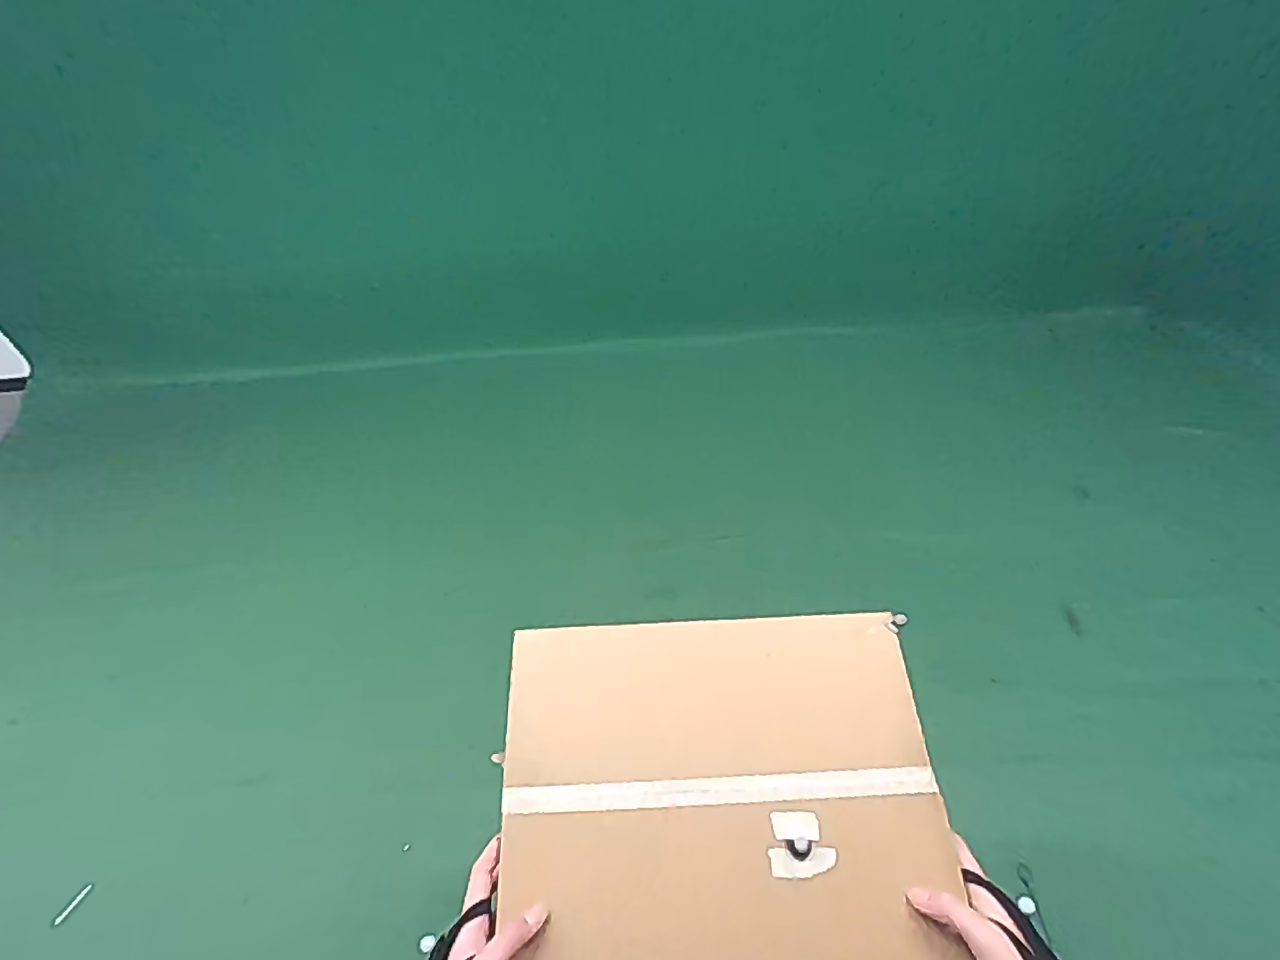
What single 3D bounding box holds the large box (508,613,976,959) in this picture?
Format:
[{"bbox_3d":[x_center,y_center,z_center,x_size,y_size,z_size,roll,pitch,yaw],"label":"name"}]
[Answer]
[{"bbox_3d":[0.078,0.362,0.648,0.408,0.320,0.320,-3,63,-1],"label":"large box"}]
